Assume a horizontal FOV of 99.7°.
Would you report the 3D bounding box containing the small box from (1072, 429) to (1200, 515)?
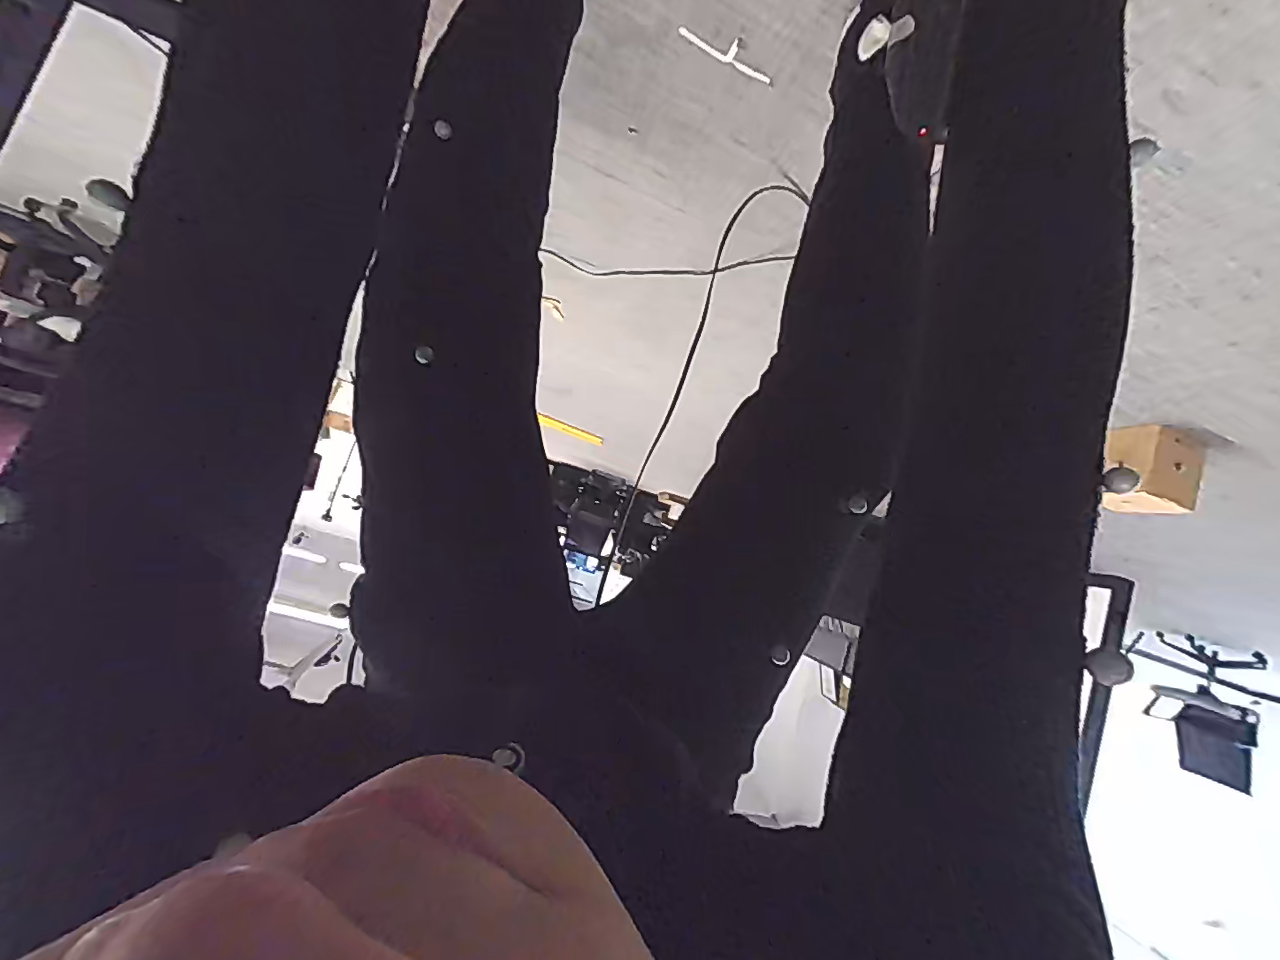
[{"bbox_3d":[1.221,-0.018,1.331,0.168,0.176,0.179,20,173,-14],"label":"small box"}]
